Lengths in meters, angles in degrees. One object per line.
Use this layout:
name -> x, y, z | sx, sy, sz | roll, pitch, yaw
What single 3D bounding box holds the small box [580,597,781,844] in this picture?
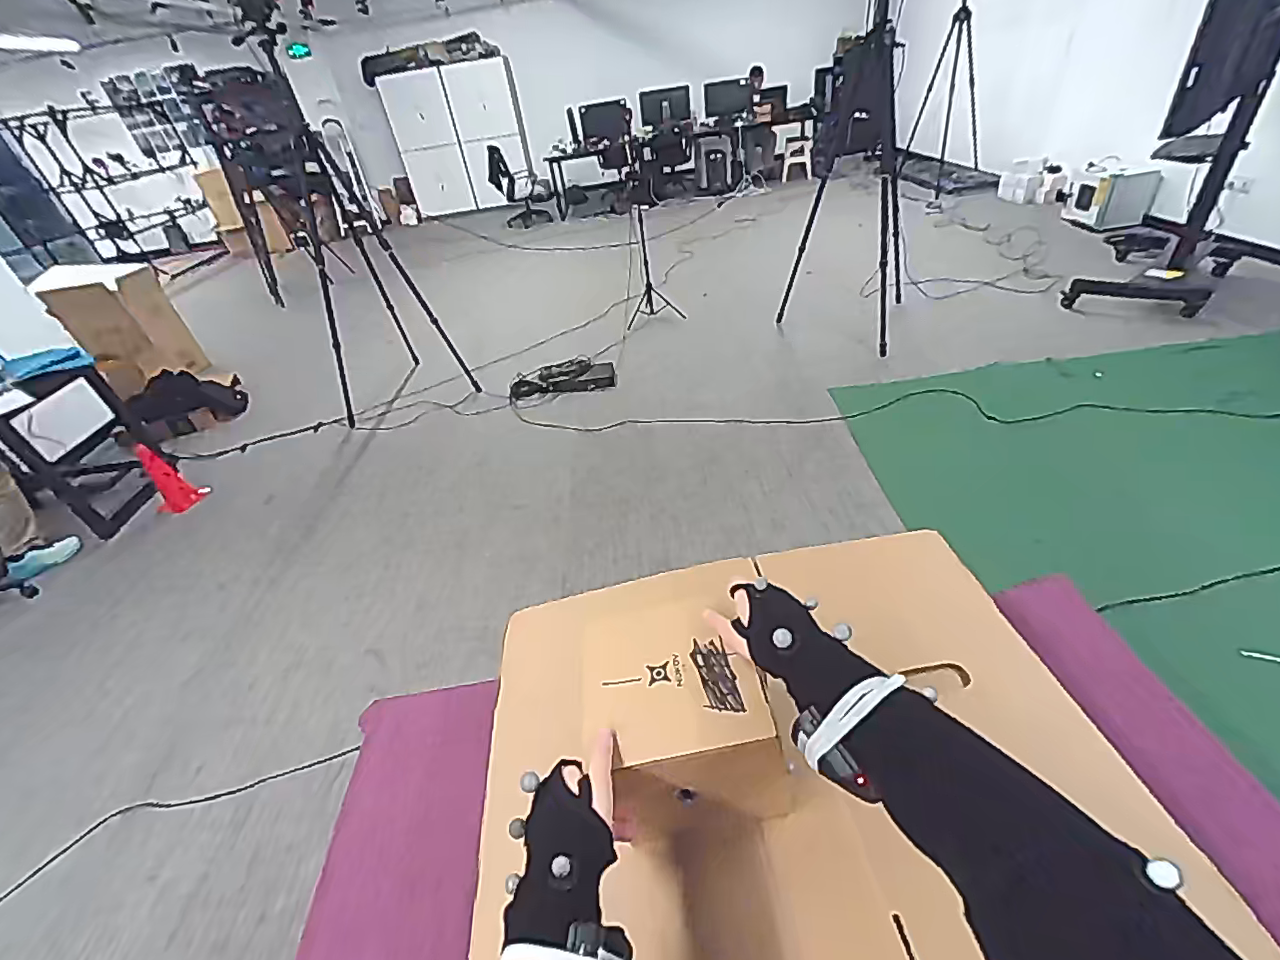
small box -> 0.045, 0.257, 0.577 | 0.179, 0.176, 0.168 | -15, 37, 5
